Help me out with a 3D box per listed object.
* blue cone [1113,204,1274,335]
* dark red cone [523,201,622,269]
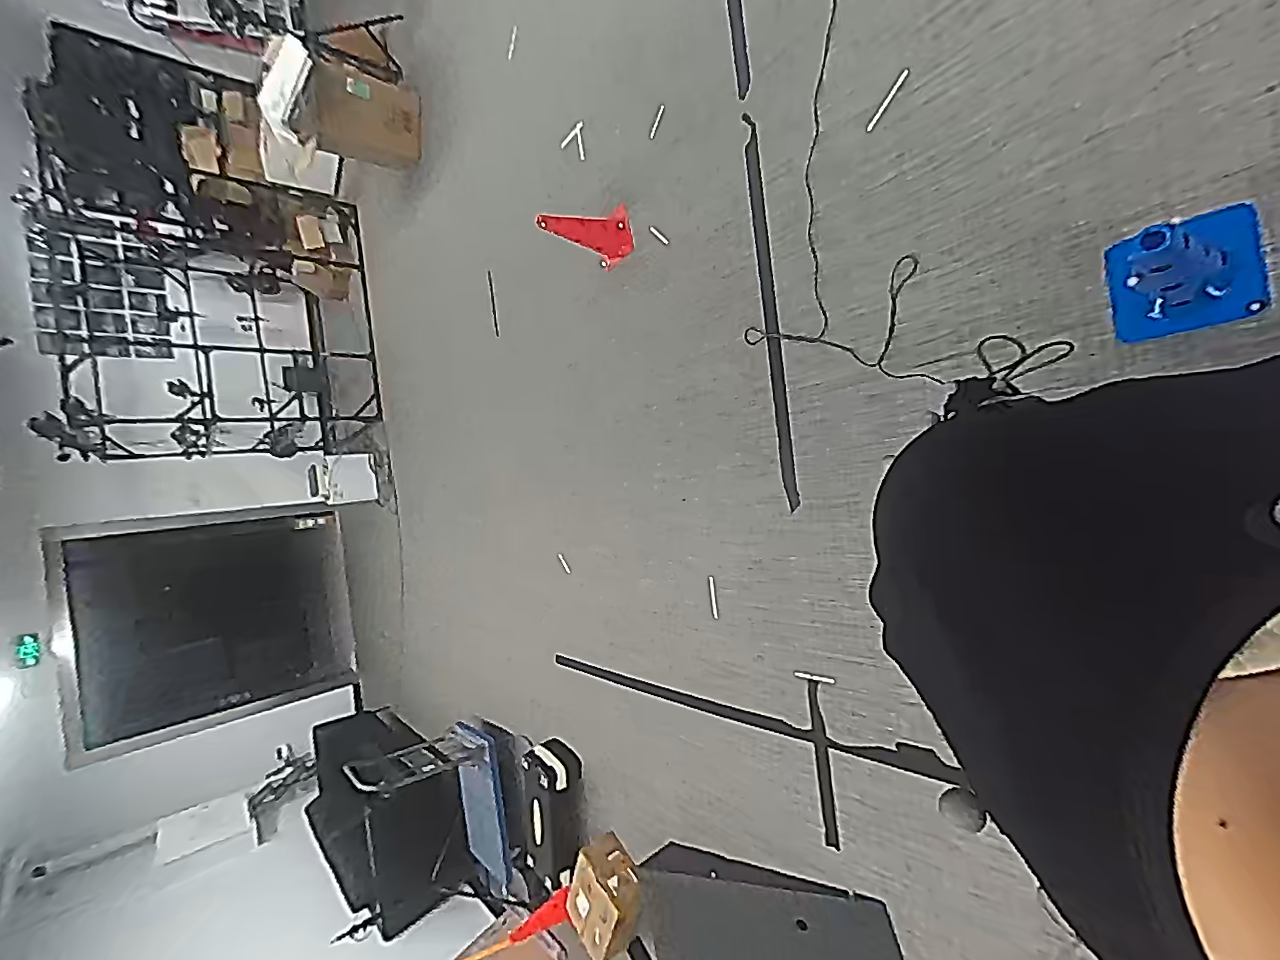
[{"bbox_3d":[0.852,-0.352,0.857,0.192,0.380,0.193,-6,90,49],"label":"blue cone"},{"bbox_3d":[-0.267,-0.968,2.068,0.201,0.394,0.202,-19,80,49],"label":"dark red cone"}]
